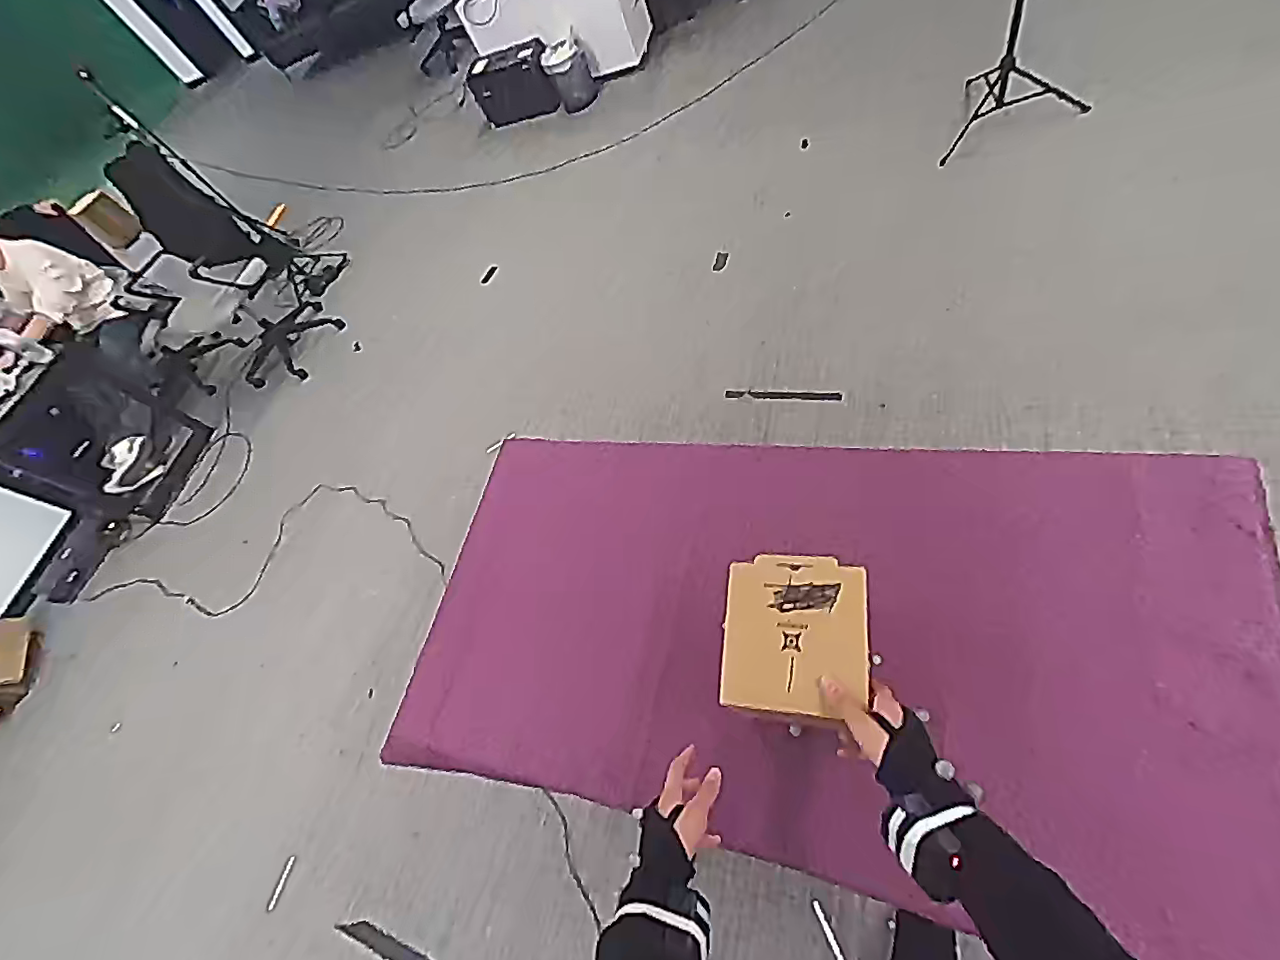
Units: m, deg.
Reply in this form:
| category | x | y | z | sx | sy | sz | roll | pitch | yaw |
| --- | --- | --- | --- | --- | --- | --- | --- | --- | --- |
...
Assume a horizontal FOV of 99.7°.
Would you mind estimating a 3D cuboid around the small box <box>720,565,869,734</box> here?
| category | x | y | z | sx | sy | sz | roll | pitch | yaw |
| --- | --- | --- | --- | --- | --- | --- | --- | --- | --- |
| small box | 0.210 | 0.225 | 0.714 | 0.168 | 0.176 | 0.179 | -2 | 62 | 23 |
